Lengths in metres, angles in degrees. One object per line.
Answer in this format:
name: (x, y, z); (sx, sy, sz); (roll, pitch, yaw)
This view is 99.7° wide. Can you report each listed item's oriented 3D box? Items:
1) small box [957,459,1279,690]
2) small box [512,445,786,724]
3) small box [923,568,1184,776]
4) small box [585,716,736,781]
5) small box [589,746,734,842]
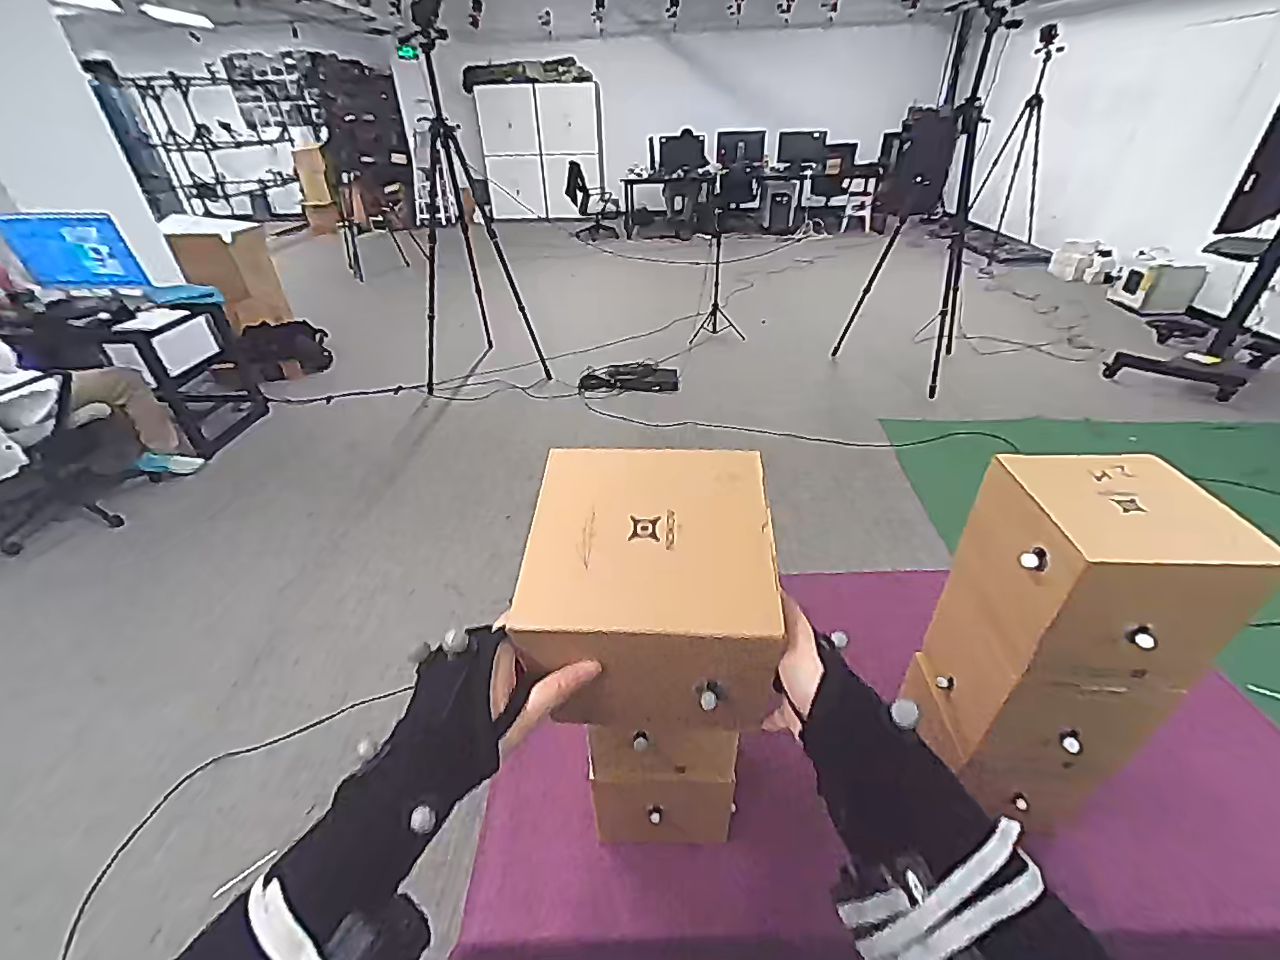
small box: (0.465, 0.094, 0.561); (0.168, 0.176, 0.179); (1, 34, 5)
small box: (0.013, 0.089, 0.450); (0.179, 0.176, 0.168); (1, 46, 5)
small box: (0.472, 0.230, 0.656); (0.168, 0.176, 0.179); (2, 35, 6)
small box: (0.028, 0.241, 0.662); (0.168, 0.176, 0.179); (0, 34, 3)
small box: (0.030, 0.377, 0.752); (0.179, 0.176, 0.168); (-1, 34, 3)
